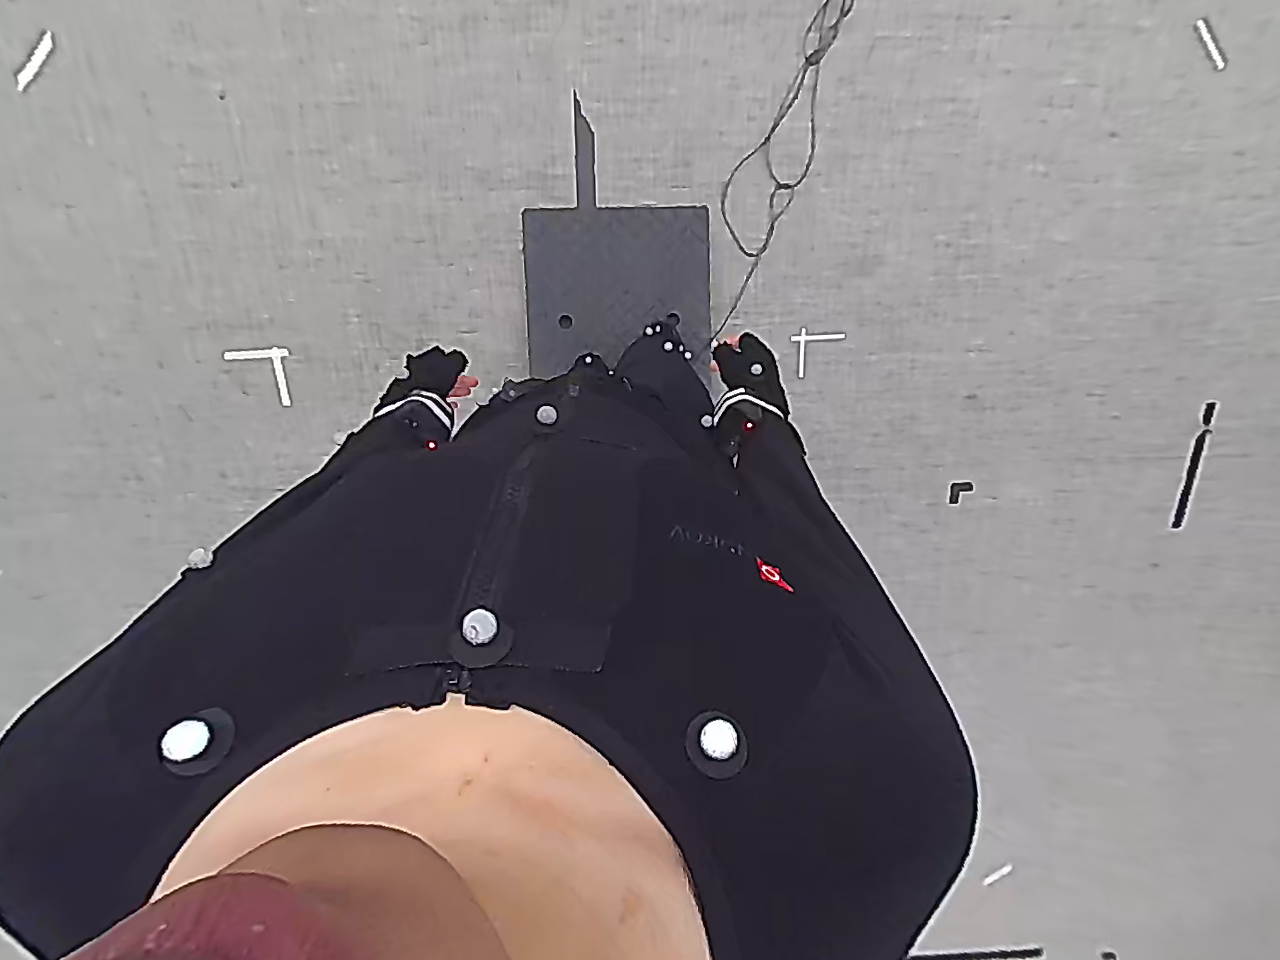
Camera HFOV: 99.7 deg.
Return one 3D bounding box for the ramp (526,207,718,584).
[{"bbox_3d":[-0.043,-0.217,1.464,0.509,0.206,0.991,-3,105,0],"label":"ramp"}]
